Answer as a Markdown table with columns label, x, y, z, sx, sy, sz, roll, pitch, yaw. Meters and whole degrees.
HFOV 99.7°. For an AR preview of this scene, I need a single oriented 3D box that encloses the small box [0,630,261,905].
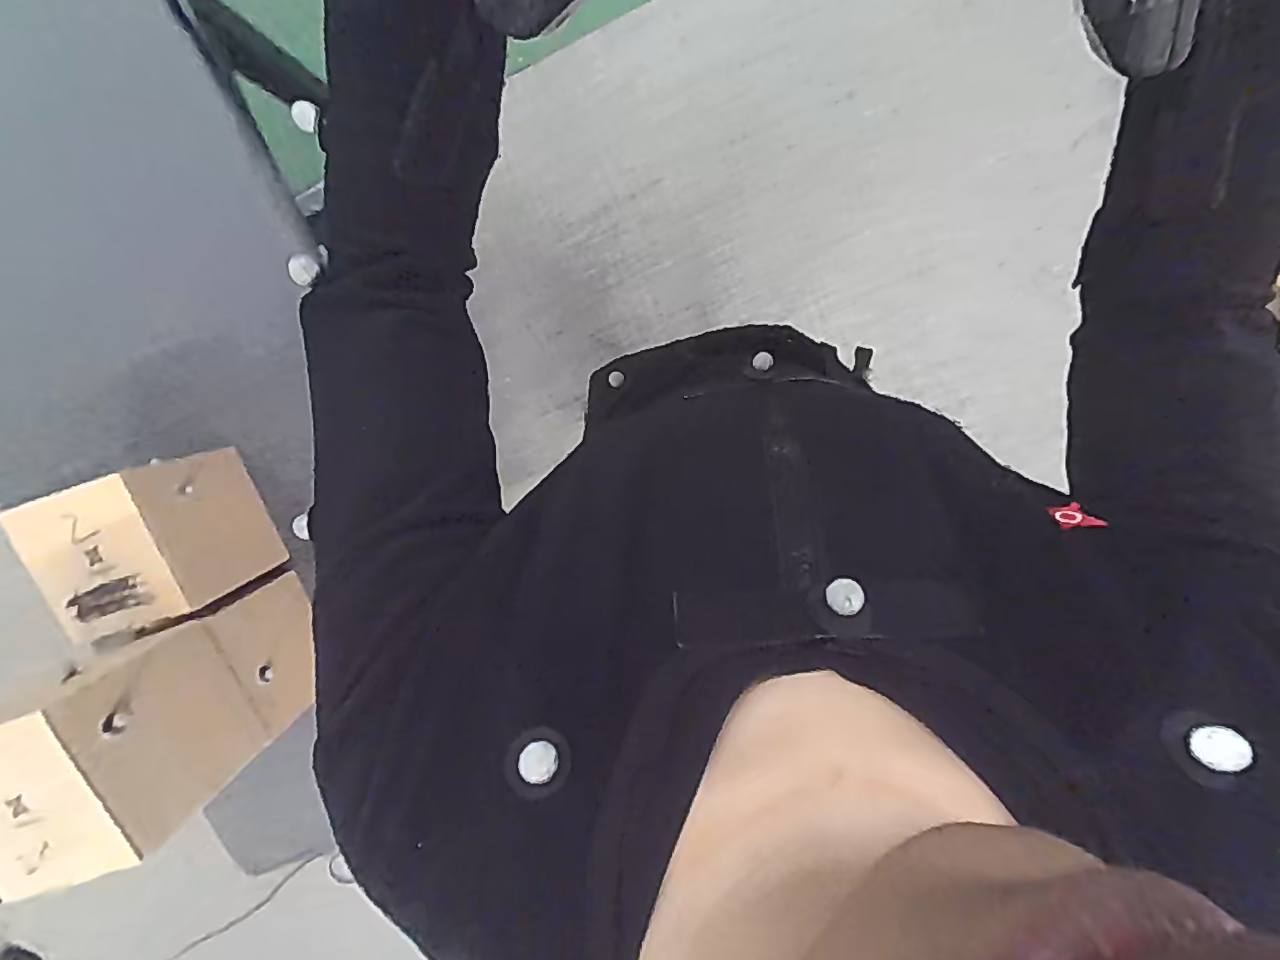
| label | x | y | z | sx | sy | sz | roll | pitch | yaw |
| --- | --- | --- | --- | --- | --- | --- | --- | --- | --- |
| small box | -0.556 | 0.279 | 0.564 | 0.168 | 0.176 | 0.179 | -19 | 101 | 6 |
